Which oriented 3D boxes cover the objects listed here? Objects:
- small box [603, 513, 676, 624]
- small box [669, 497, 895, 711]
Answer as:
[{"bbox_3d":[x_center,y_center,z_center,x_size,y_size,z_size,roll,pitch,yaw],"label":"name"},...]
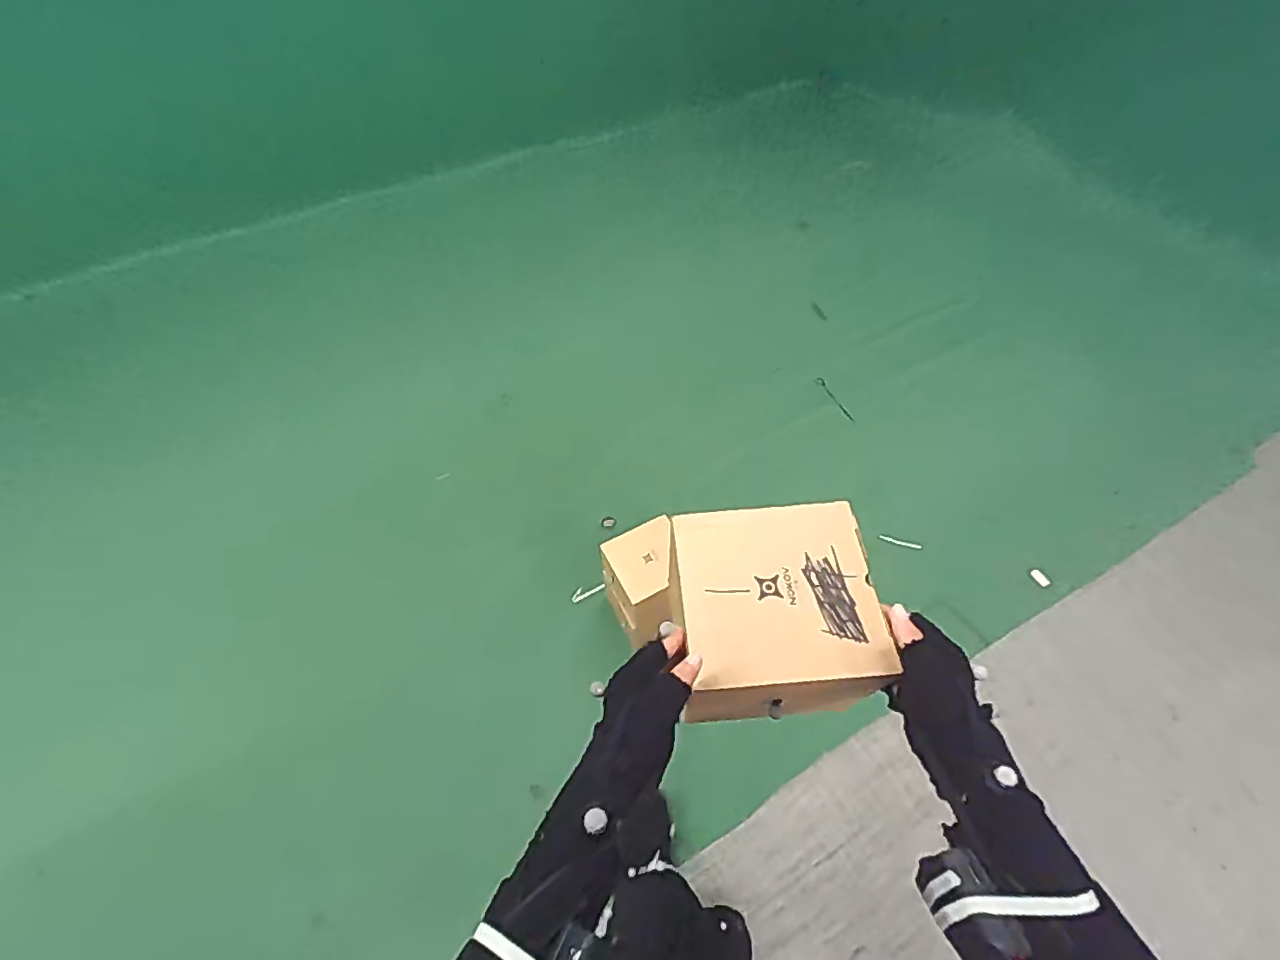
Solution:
[{"bbox_3d":[0.030,0.214,1.284,0.179,0.176,0.168,-25,59,-15],"label":"small box"},{"bbox_3d":[0.123,0.131,0.551,0.179,0.176,0.168,-2,55,0],"label":"small box"}]
